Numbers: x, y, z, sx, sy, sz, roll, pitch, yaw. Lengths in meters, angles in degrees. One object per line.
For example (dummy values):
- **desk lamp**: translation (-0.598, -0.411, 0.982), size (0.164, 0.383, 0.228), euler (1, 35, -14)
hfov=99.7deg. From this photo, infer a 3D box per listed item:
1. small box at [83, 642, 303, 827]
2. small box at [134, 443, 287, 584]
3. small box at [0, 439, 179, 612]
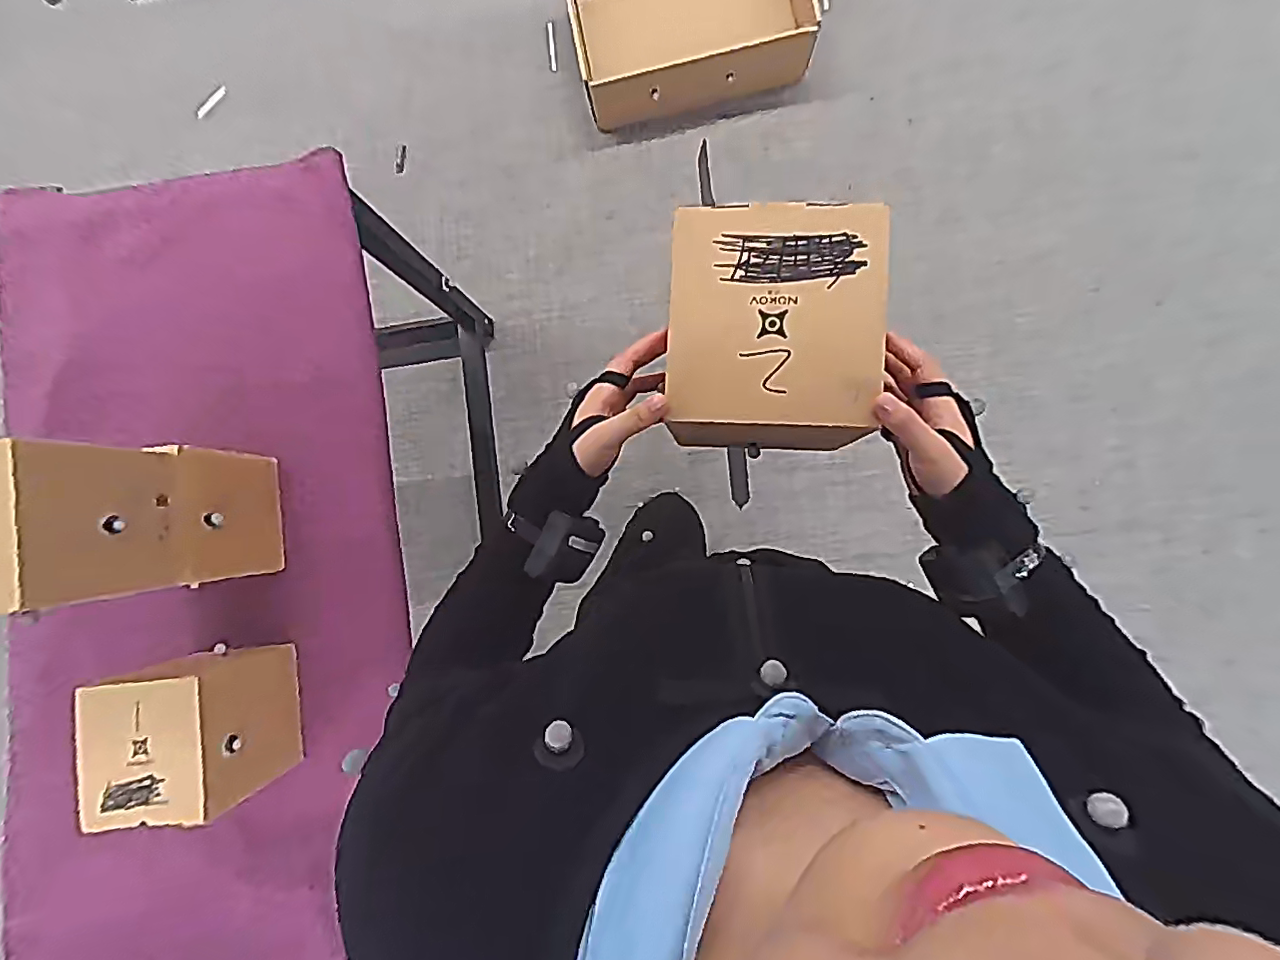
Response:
- **small box**: translation (-0.592, 0.334, 0.737), size (0.168, 0.176, 0.179), euler (-7, 86, 4)
- **small box**: translation (-0.632, 0.052, 0.758), size (0.168, 0.176, 0.179), euler (-6, 87, 5)
- **small box**: translation (-0.654, 0.051, 0.594), size (0.179, 0.176, 0.168), euler (-6, 87, 5)
